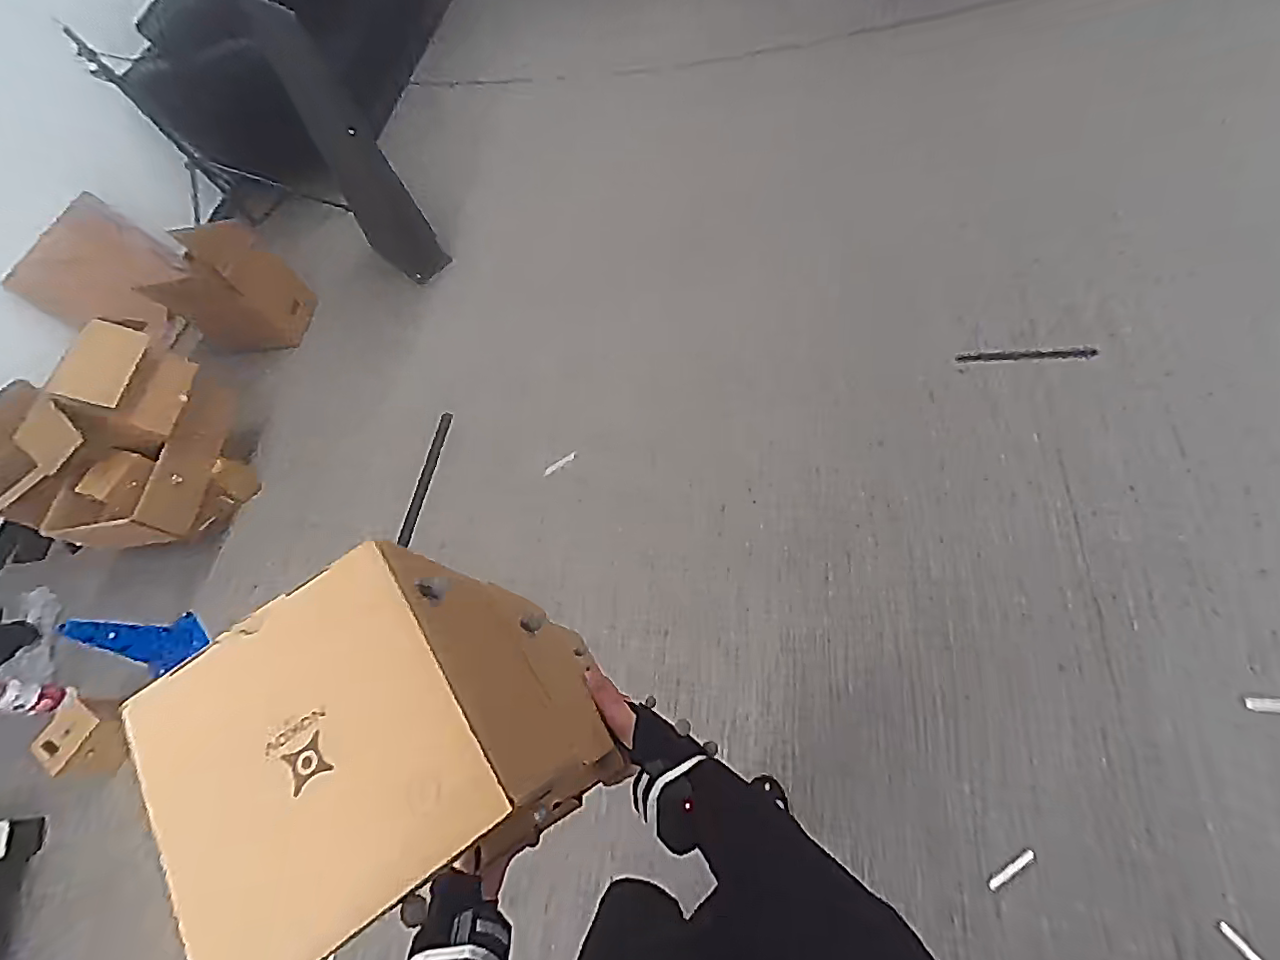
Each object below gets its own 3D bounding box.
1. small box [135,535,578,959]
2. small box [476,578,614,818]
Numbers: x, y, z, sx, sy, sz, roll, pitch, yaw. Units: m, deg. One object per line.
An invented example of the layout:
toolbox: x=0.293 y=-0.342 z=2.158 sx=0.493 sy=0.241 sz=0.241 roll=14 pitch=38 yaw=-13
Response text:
small box: x=-0.162 y=0.167 z=0.359 sx=0.168 sy=0.176 sz=0.179 roll=-35 pitch=68 yaw=-7
small box: x=-0.143 y=0.222 z=0.511 sx=0.168 sy=0.176 sz=0.179 roll=-32 pitch=69 yaw=-5
